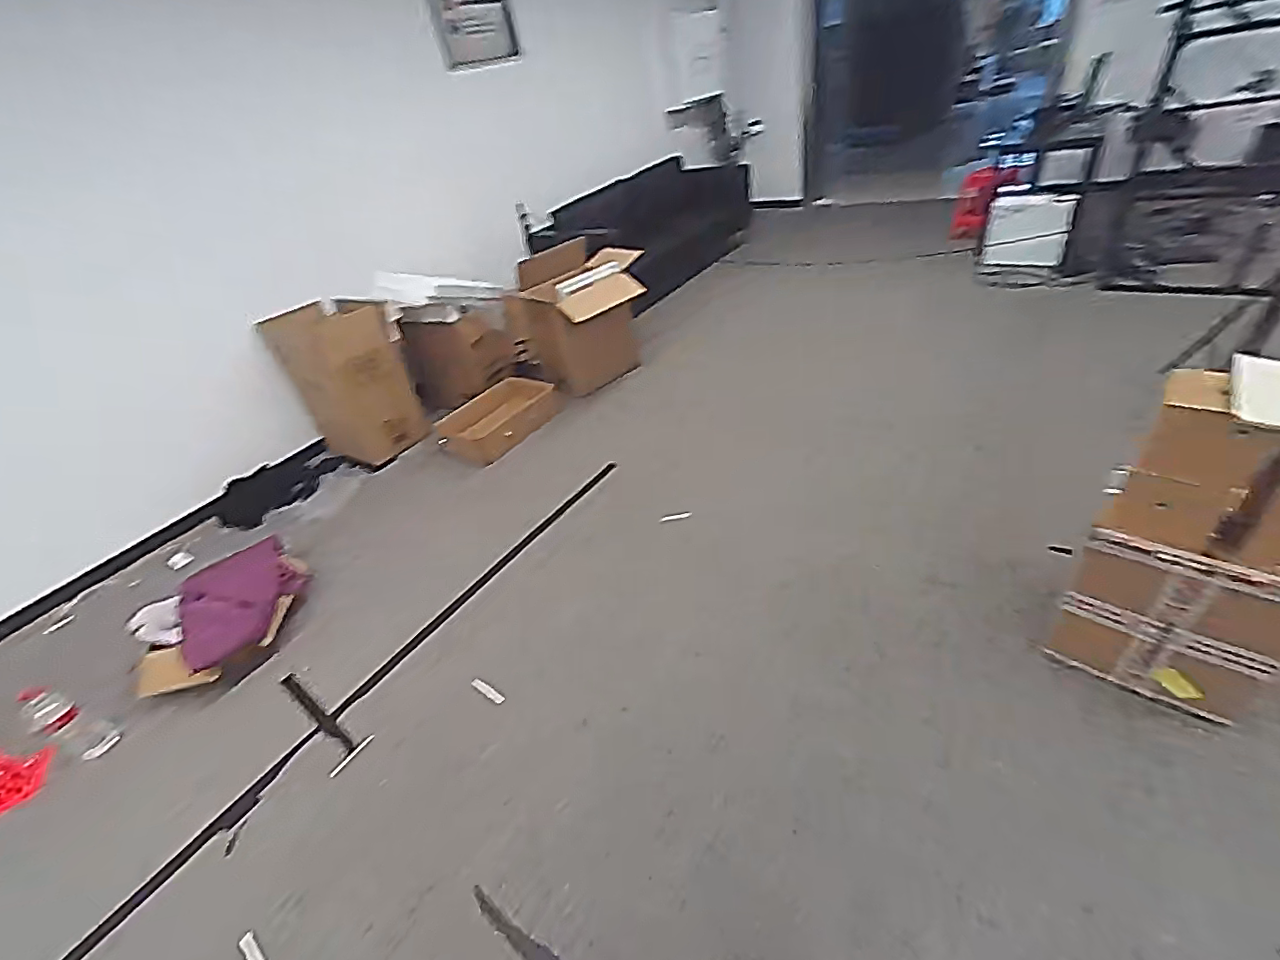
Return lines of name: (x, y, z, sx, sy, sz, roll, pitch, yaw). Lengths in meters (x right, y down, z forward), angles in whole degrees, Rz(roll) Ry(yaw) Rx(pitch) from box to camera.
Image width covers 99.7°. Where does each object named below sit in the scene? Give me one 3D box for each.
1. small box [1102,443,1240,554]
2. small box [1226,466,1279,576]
small box: (1.220, 0.044, 1.251, 0.179, 0.176, 0.168, 23, 51, 40)
small box: (1.389, 0.099, 1.129, 0.179, 0.176, 0.168, 17, 47, 33)
